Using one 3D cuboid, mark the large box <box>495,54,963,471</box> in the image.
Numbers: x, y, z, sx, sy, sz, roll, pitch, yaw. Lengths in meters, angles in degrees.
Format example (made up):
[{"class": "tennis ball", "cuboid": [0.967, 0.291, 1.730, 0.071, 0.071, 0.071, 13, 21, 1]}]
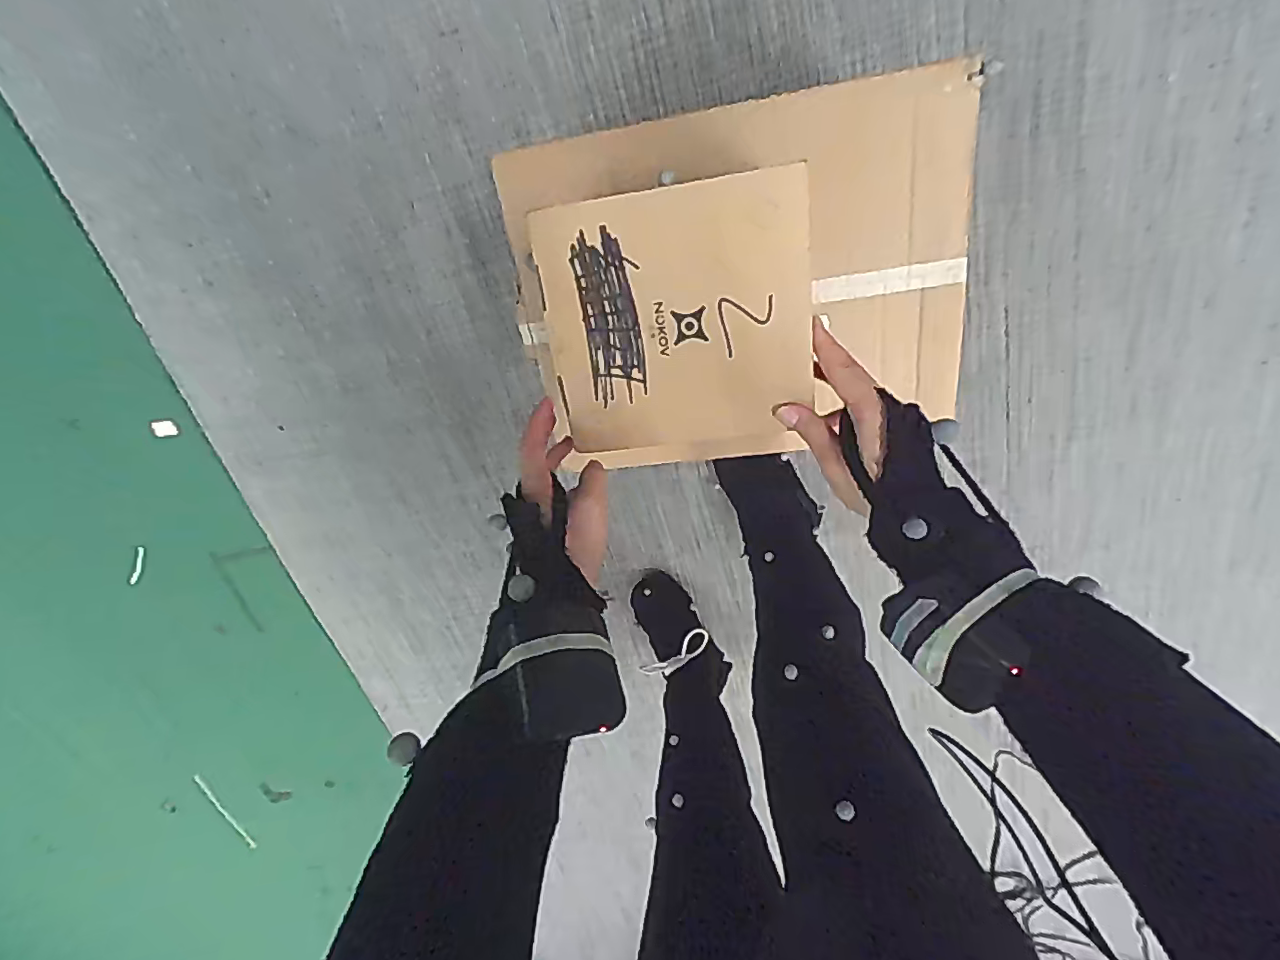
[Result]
[{"class": "large box", "cuboid": [0.100, -0.233, 0.649, 0.408, 0.320, 0.320, -7, 115, 9]}]
